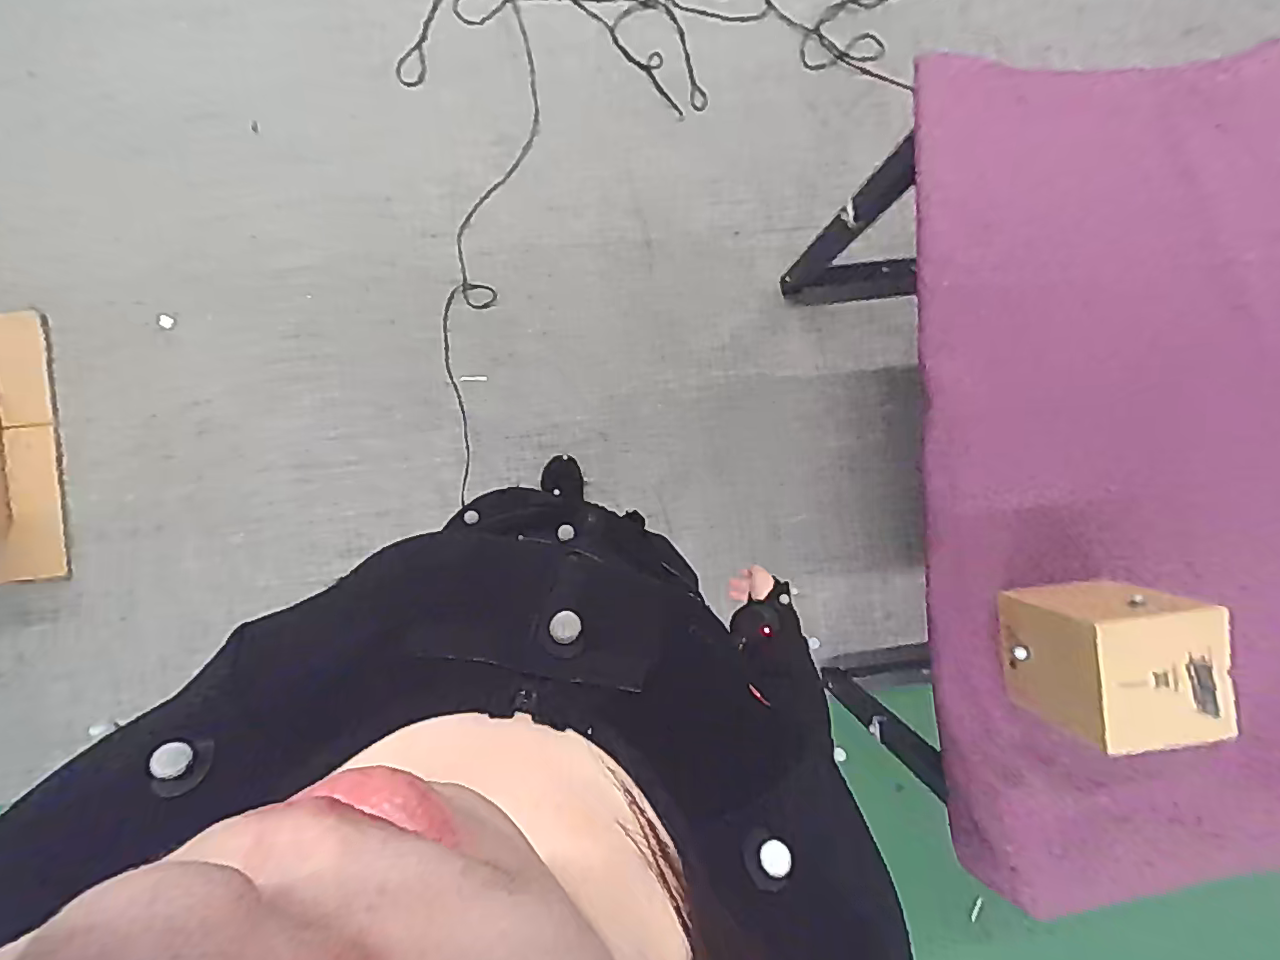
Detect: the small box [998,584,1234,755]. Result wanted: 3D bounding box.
[{"bbox_3d":[0.637,0.245,0.741,0.179,0.176,0.168,-6,90,-3],"label":"small box"}]
